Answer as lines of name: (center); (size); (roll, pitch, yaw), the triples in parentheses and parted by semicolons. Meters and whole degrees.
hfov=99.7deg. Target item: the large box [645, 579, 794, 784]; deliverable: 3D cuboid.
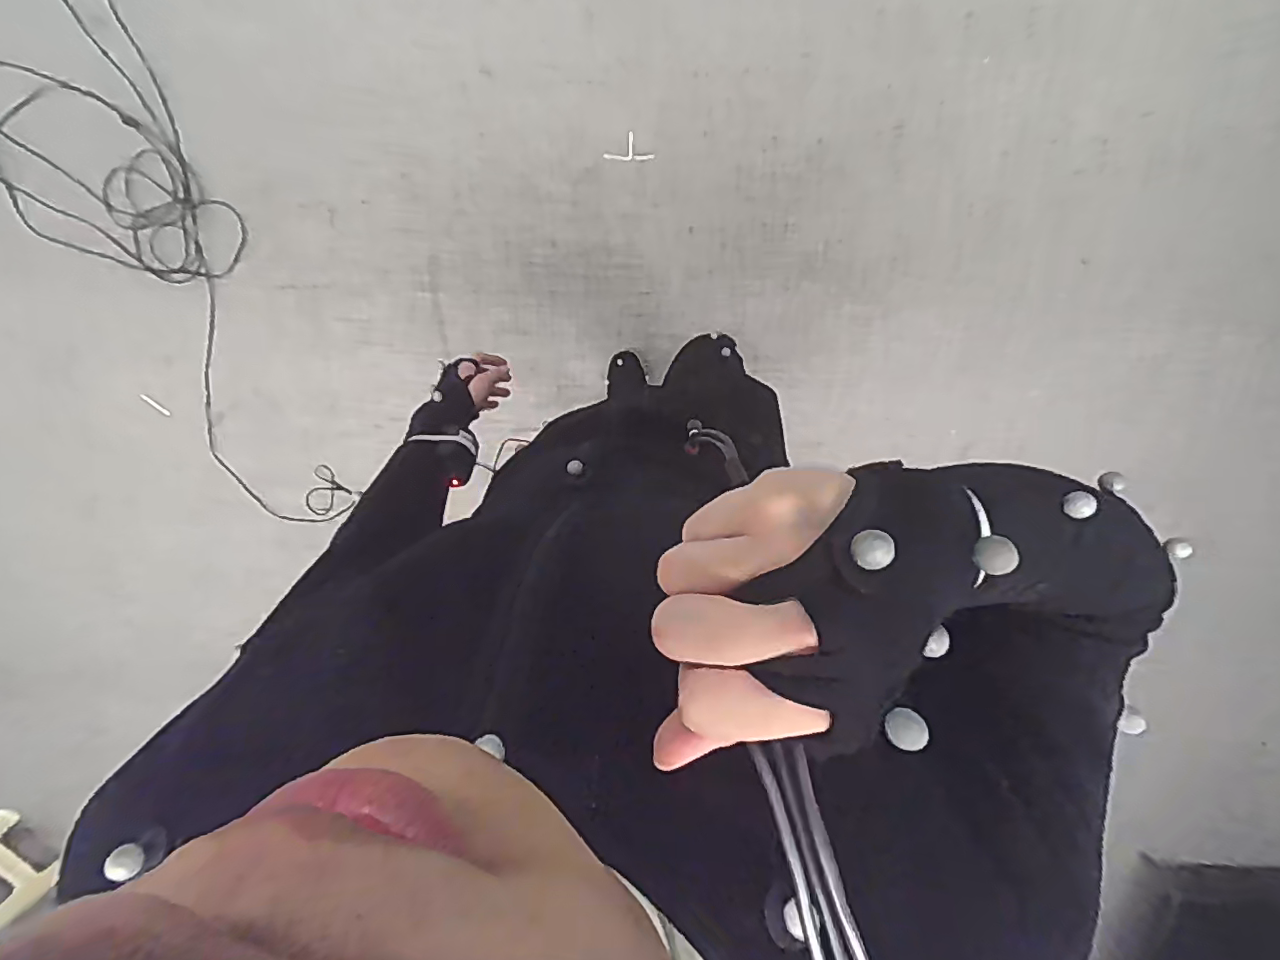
large box: (0.187, 0.518, 1.441); (0.320, 0.320, 0.408); (7, 106, -1)
